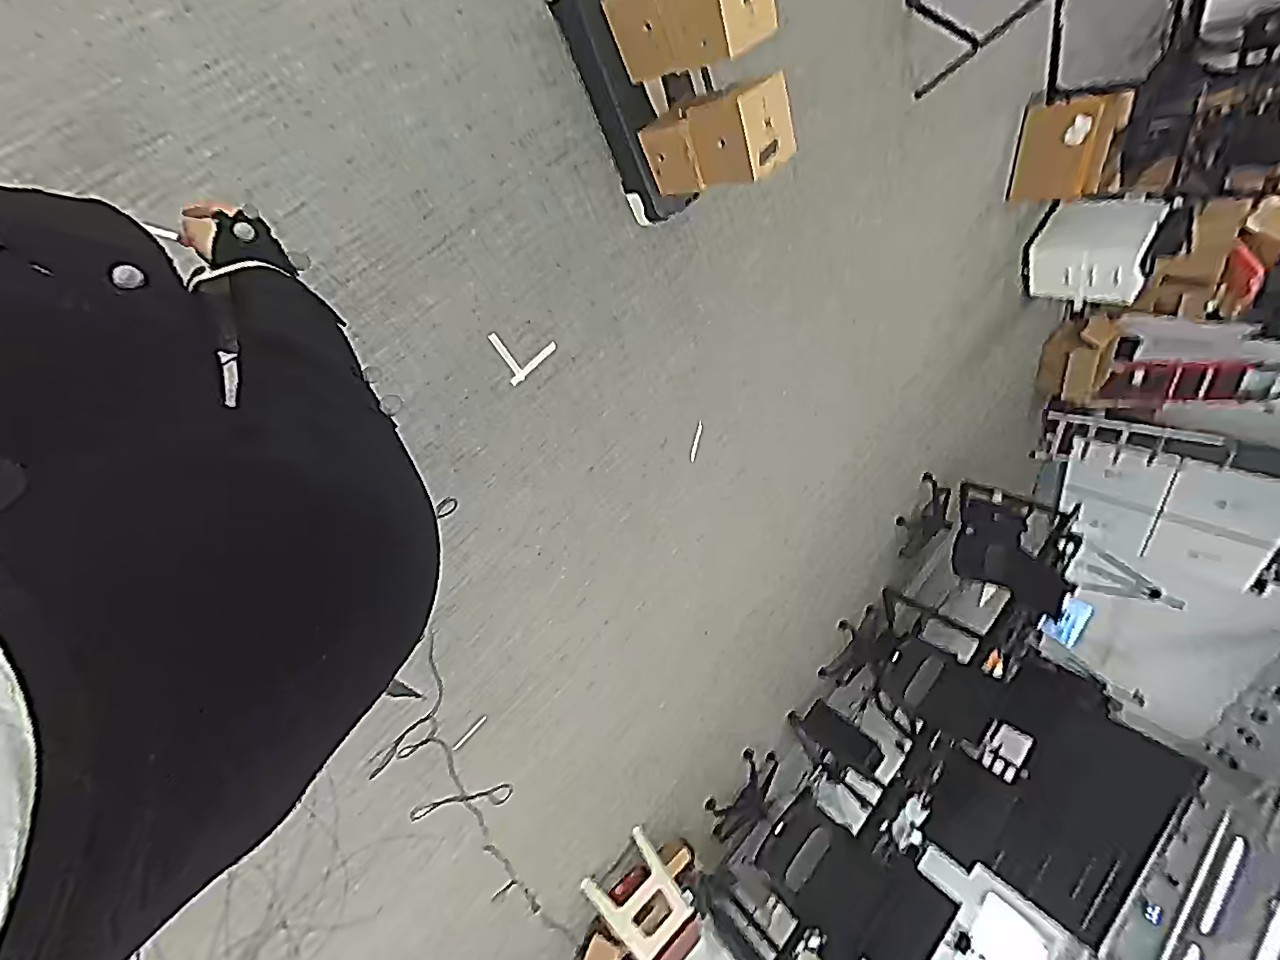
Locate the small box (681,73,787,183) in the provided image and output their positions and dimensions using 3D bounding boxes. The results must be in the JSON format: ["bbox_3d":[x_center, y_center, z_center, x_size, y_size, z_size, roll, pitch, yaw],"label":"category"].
[{"bbox_3d":[0.229,-0.847,1.316,0.168,0.176,0.179,-43,132,-19],"label":"small box"}]

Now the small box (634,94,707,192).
[{"bbox_3d":[0.116,-0.889,1.428,0.179,0.176,0.168,-47,134,-15],"label":"small box"}]
